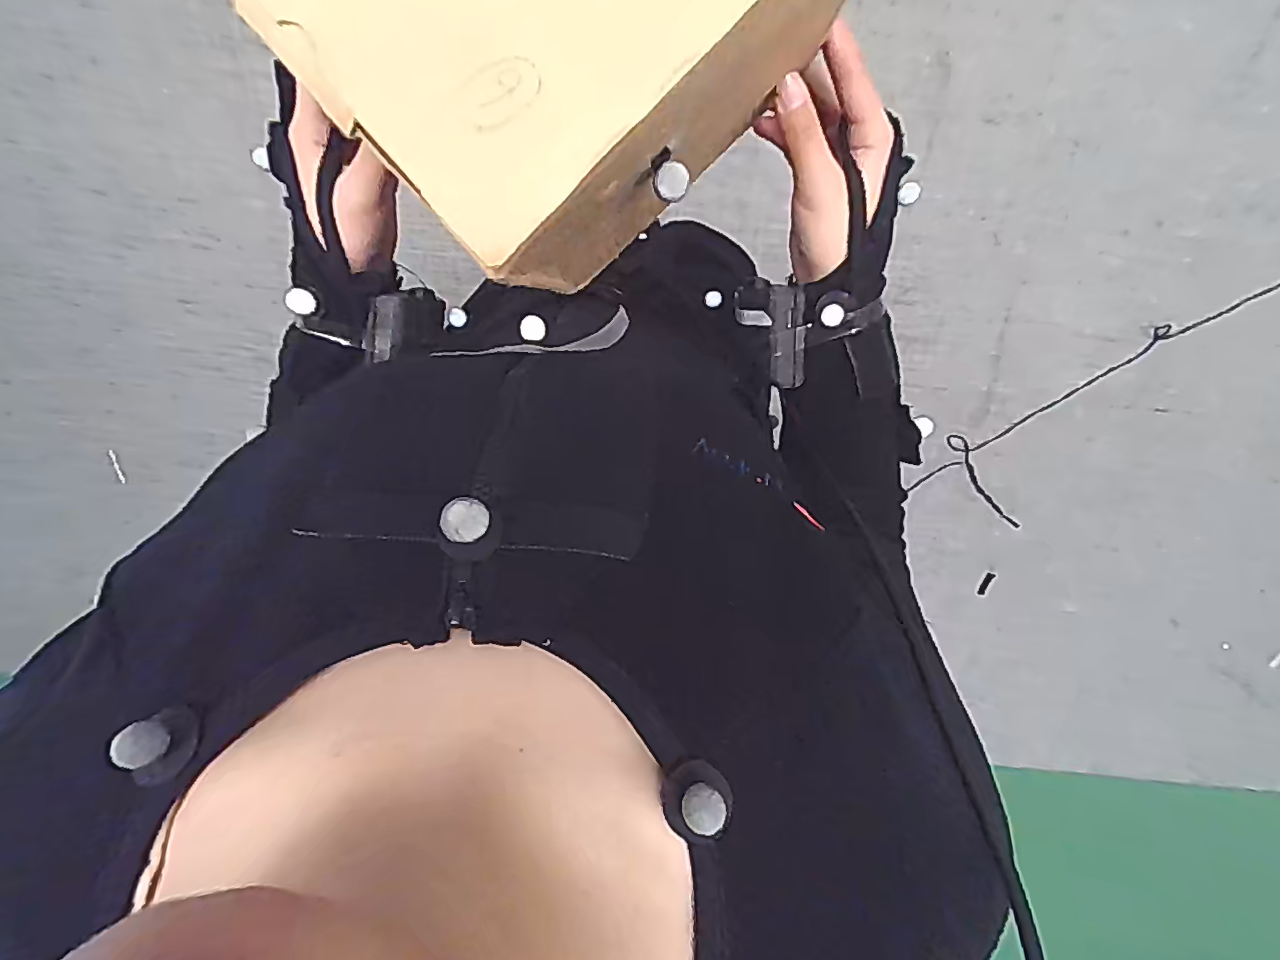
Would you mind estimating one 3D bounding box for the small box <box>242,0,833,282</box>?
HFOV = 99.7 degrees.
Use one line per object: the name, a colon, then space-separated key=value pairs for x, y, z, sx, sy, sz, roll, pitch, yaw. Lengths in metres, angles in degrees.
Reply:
small box: x=-0.031 y=-0.201 z=0.218 sx=0.179 sy=0.176 sz=0.168 roll=-39 pitch=101 yaw=14
